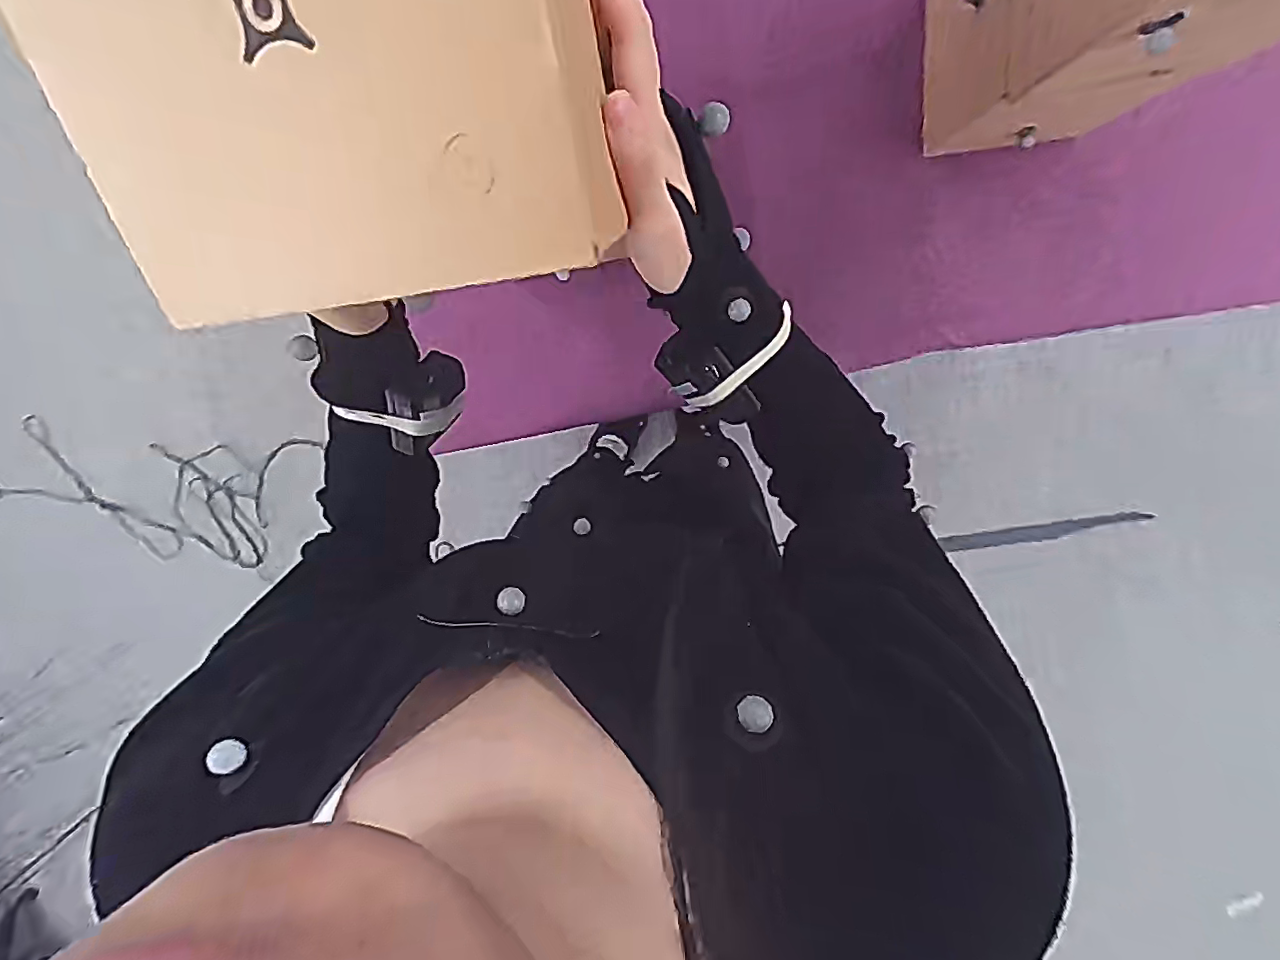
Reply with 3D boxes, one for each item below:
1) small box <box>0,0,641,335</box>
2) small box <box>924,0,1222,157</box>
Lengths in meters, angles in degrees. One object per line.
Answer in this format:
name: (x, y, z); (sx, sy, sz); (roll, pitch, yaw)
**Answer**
small box: (-0.097, -0.174, 0.221); (0.168, 0.176, 0.179); (-5, 117, 9)
small box: (0.387, -0.435, 0.509); (0.168, 0.176, 0.179); (-4, 105, 7)
